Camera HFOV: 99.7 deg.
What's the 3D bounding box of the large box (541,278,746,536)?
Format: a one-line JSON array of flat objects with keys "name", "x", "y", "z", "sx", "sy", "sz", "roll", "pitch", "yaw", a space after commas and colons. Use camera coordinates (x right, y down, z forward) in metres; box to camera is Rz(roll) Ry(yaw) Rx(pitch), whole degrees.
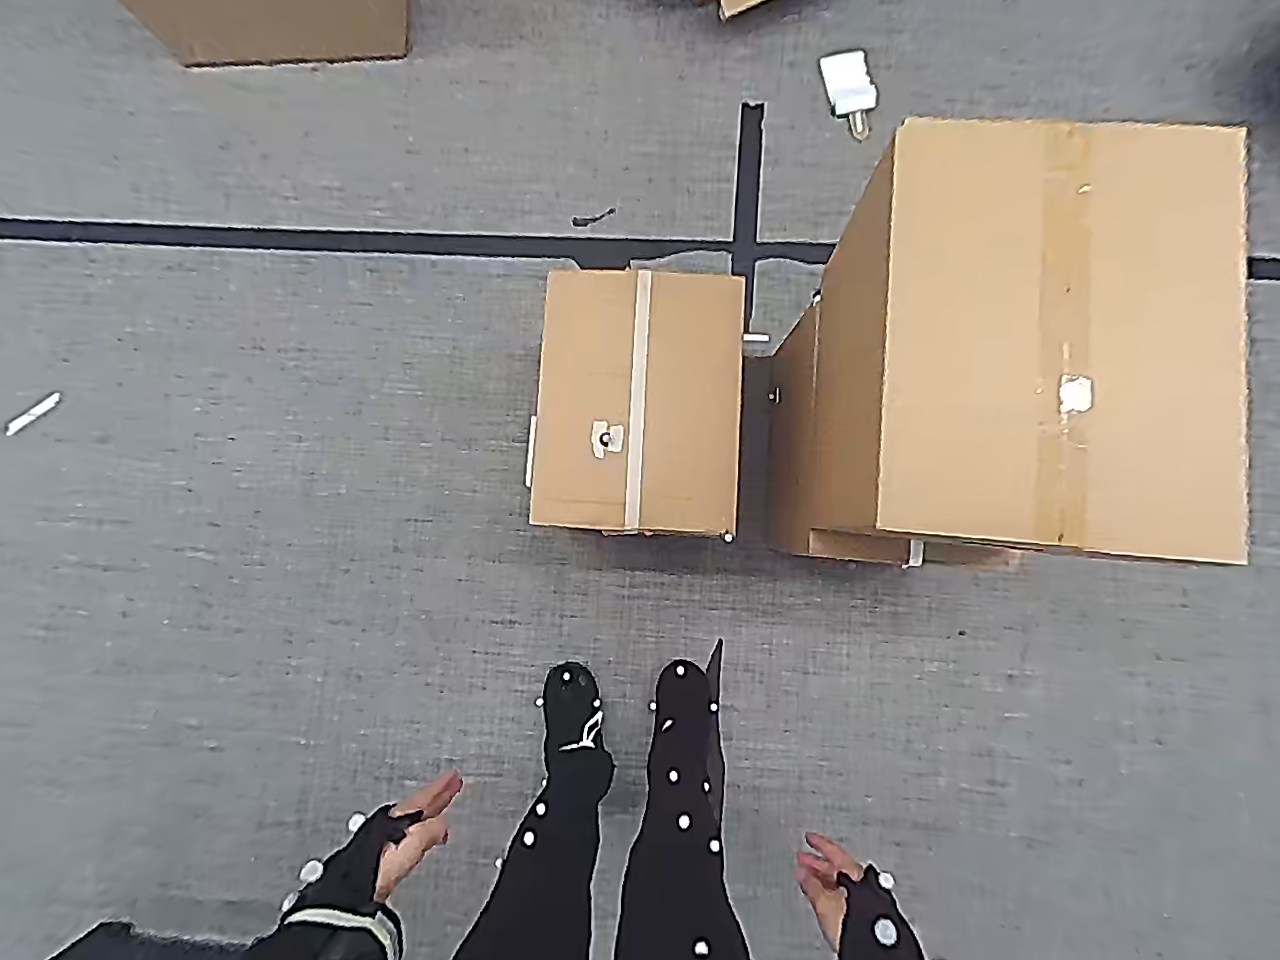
[{"name": "large box", "x": 0.009, "y": -0.107, "z": 0.979, "sx": 0.320, "sy": 0.320, "sz": 0.408, "roll": 2, "pitch": 85, "yaw": 2}]
